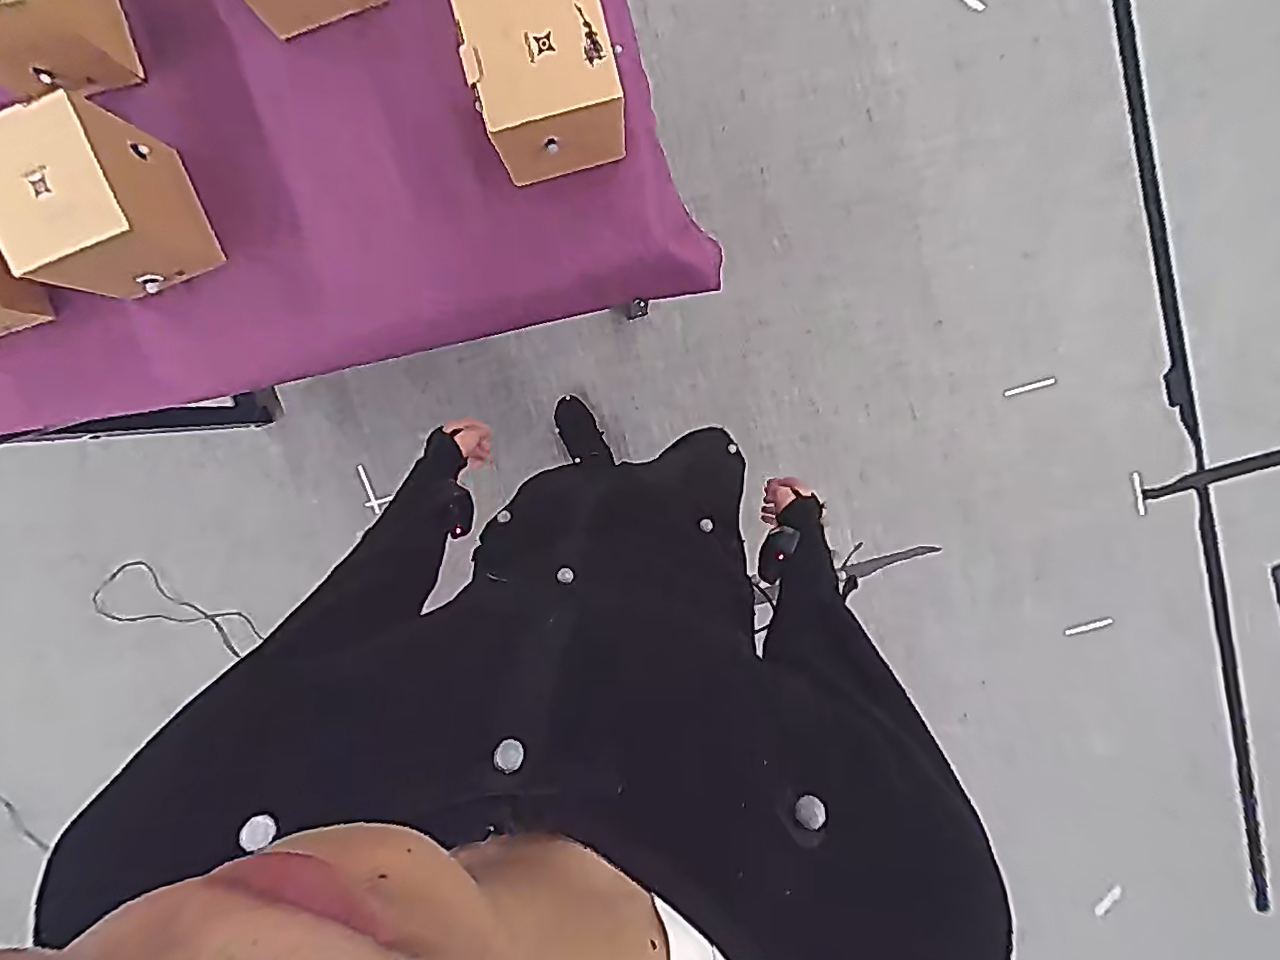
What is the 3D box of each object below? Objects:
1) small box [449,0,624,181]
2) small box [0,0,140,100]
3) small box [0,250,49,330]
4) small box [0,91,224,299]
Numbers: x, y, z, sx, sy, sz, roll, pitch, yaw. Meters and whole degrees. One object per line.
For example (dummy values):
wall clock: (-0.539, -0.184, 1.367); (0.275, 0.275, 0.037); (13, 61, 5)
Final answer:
small box: (-0.126, -0.536, 0.732); (0.179, 0.176, 0.168); (-14, 98, 2)
small box: (-0.823, -0.641, 0.703); (0.168, 0.176, 0.179); (-14, 98, 0)
small box: (-1.001, -0.299, 0.748); (0.168, 0.176, 0.179); (-18, 96, 1)
small box: (-0.738, -0.374, 0.745); (0.168, 0.176, 0.179); (-21, 97, 3)
